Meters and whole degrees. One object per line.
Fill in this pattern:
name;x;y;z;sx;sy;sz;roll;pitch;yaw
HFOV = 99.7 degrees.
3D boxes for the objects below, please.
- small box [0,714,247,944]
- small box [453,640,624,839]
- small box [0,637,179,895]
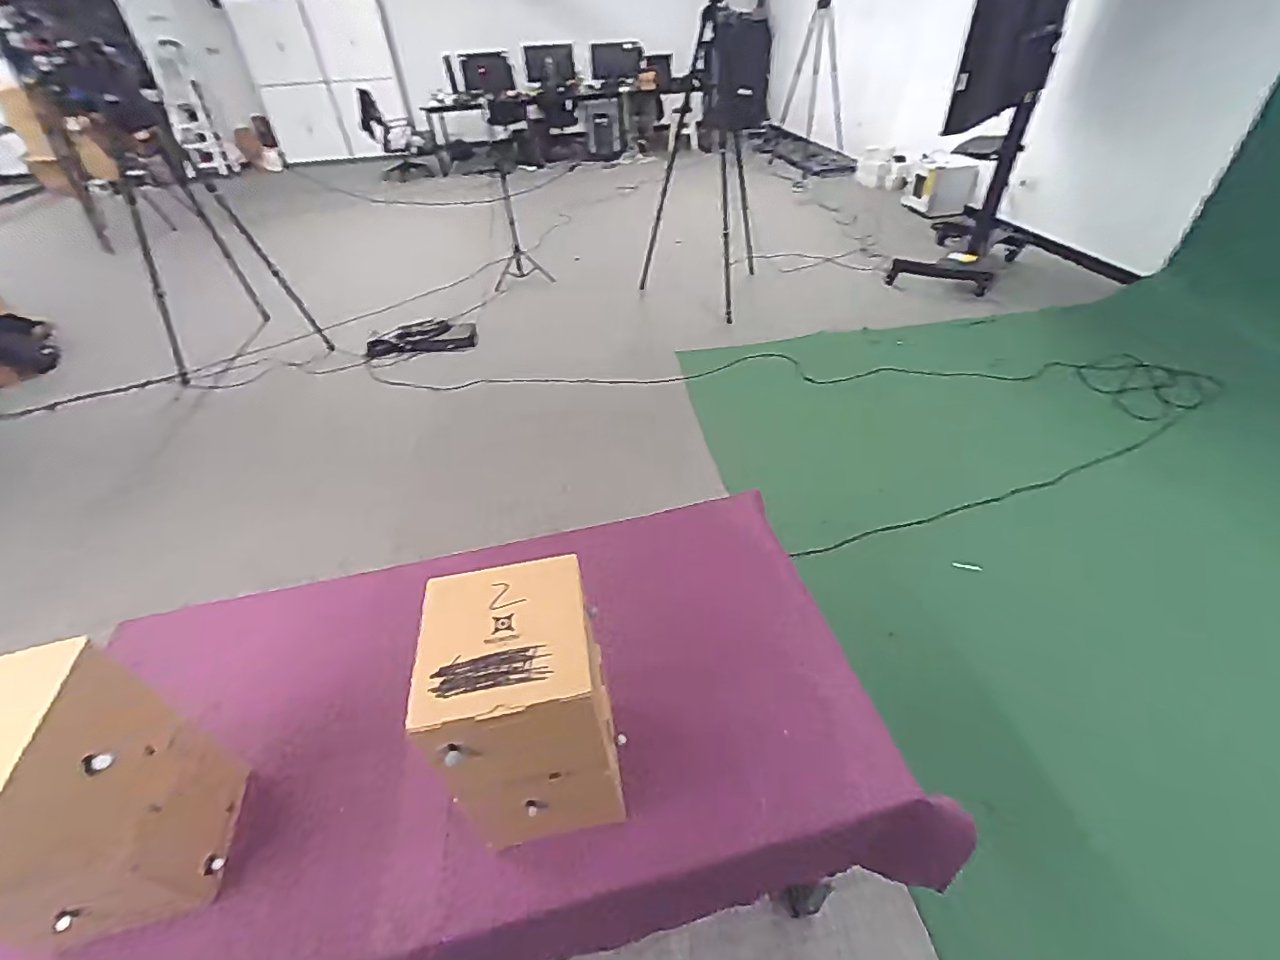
small box;-0.619;0.415;0.647;0.179;0.176;0.168;-13;42;-9
small box;-0.122;0.335;0.696;0.179;0.176;0.168;-8;42;-5
small box;-0.624;0.291;0.542;0.179;0.176;0.168;-14;42;-10
